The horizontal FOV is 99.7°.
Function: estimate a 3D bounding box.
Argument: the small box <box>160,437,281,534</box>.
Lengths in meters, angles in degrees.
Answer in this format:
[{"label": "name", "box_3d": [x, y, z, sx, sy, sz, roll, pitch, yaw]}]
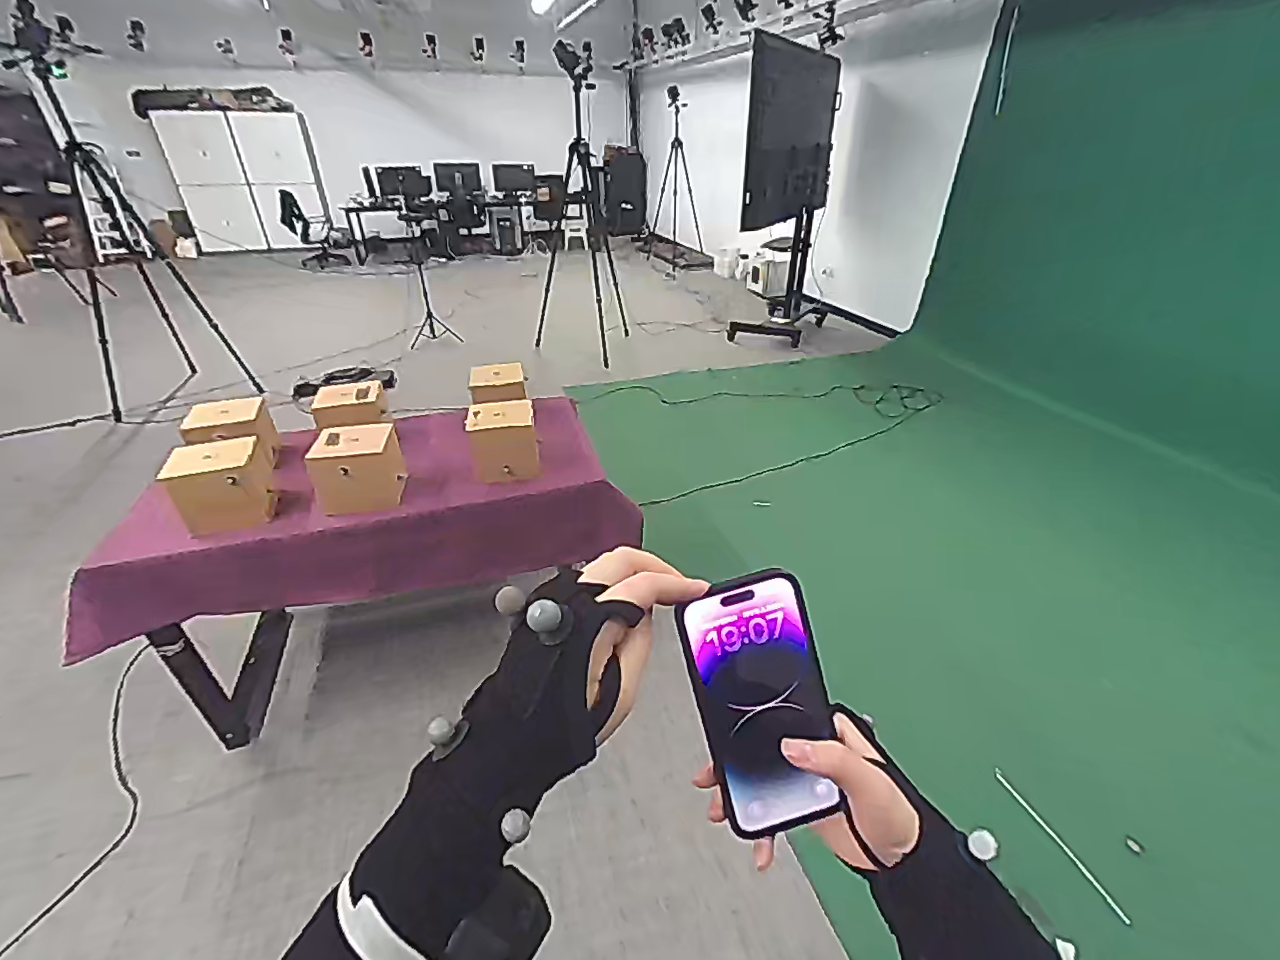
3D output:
[{"label": "small box", "box_3d": [-1.023, 0.014, 1.337, 0.179, 0.176, 0.168, -12, 34, -20]}]

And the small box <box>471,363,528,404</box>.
[{"label": "small box", "box_3d": [-0.457, -0.271, 1.781, 0.168, 0.176, 0.179, -8, 34, -11]}]

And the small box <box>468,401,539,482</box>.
[{"label": "small box", "box_3d": [-0.378, -0.108, 1.524, 0.179, 0.176, 0.168, -6, 32, -9]}]

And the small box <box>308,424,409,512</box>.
[{"label": "small box", "box_3d": [-0.720, -0.031, 1.404, 0.179, 0.176, 0.168, -6, 33, -10]}]
